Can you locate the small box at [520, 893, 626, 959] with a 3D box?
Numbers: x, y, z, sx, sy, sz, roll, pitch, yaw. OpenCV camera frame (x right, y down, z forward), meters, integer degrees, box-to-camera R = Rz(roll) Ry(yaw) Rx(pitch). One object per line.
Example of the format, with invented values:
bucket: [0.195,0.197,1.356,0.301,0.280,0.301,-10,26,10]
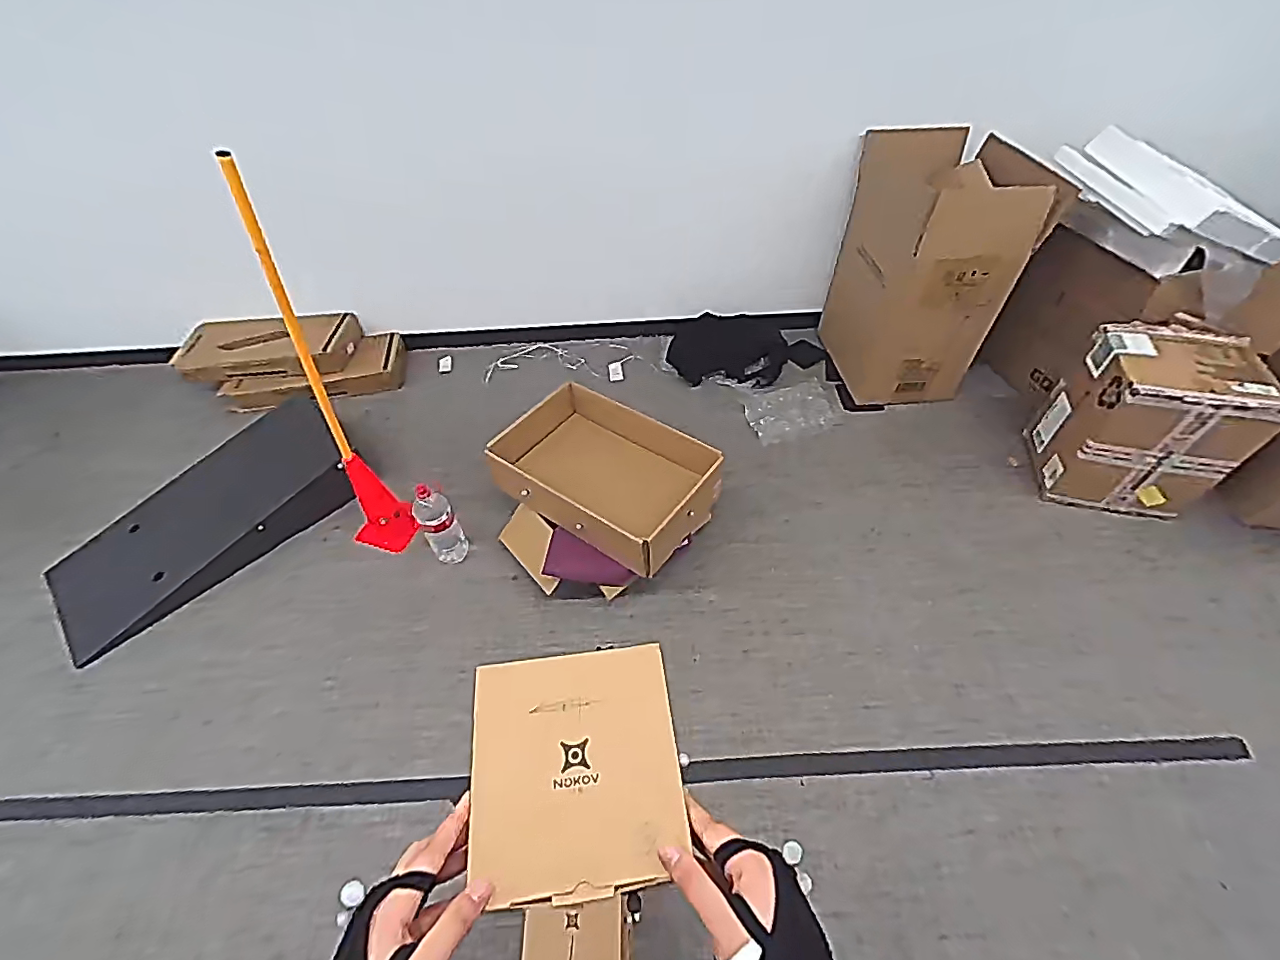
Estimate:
small box: [-0.113,0.793,0.973,0.168,0.176,0.179,-2,49,1]

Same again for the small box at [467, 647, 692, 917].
small box: [-0.053,0.276,0.497,0.168,0.176,0.179,-5,52,-7]
